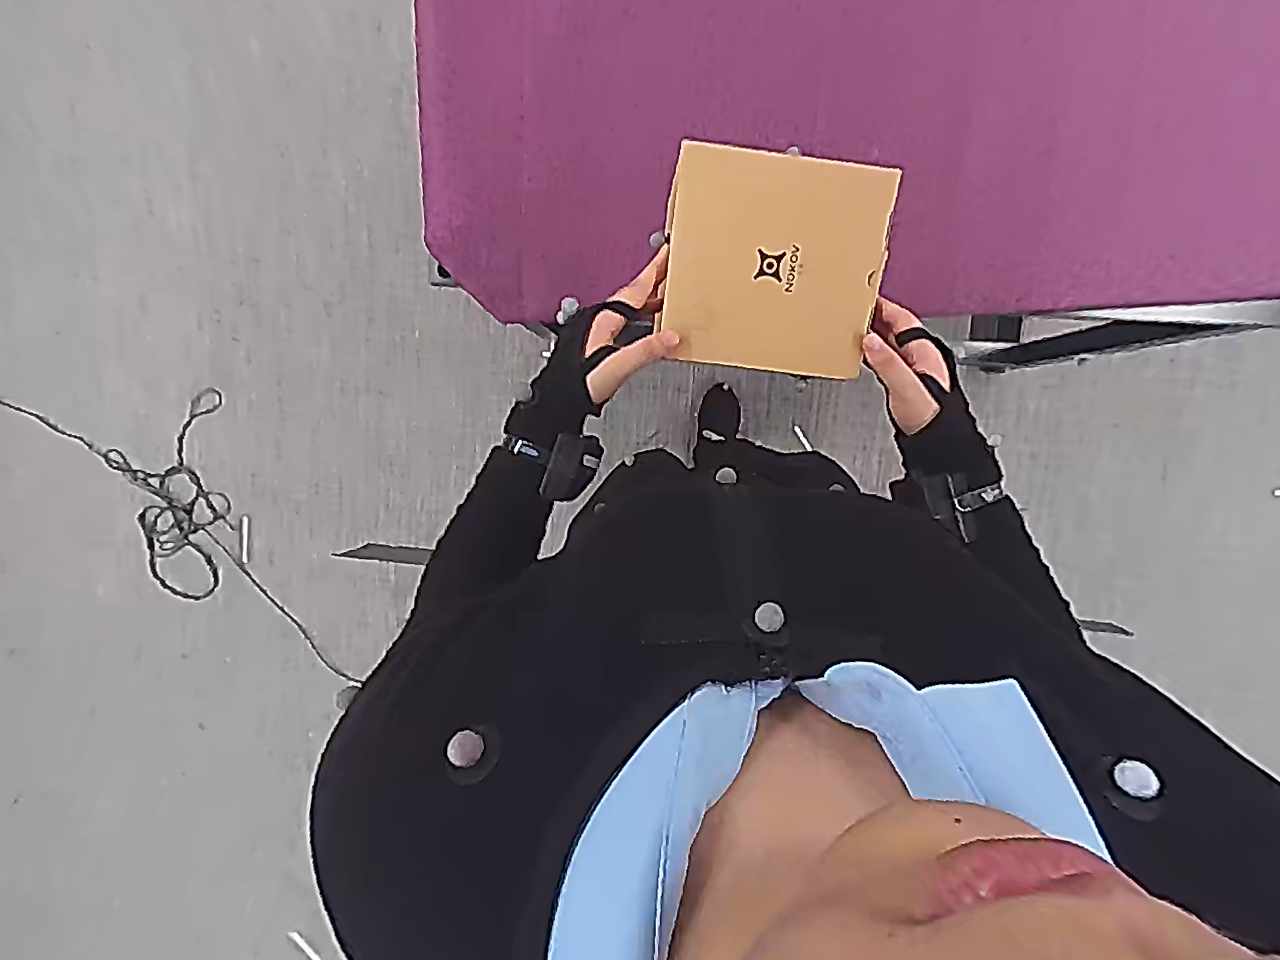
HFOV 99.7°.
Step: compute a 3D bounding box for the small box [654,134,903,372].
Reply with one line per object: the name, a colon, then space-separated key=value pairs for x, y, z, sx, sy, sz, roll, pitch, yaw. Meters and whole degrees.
small box: x=0.109 y=-0.195 z=0.510 sx=0.179 sy=0.176 sz=0.168 roll=5 pitch=104 yaw=-3
